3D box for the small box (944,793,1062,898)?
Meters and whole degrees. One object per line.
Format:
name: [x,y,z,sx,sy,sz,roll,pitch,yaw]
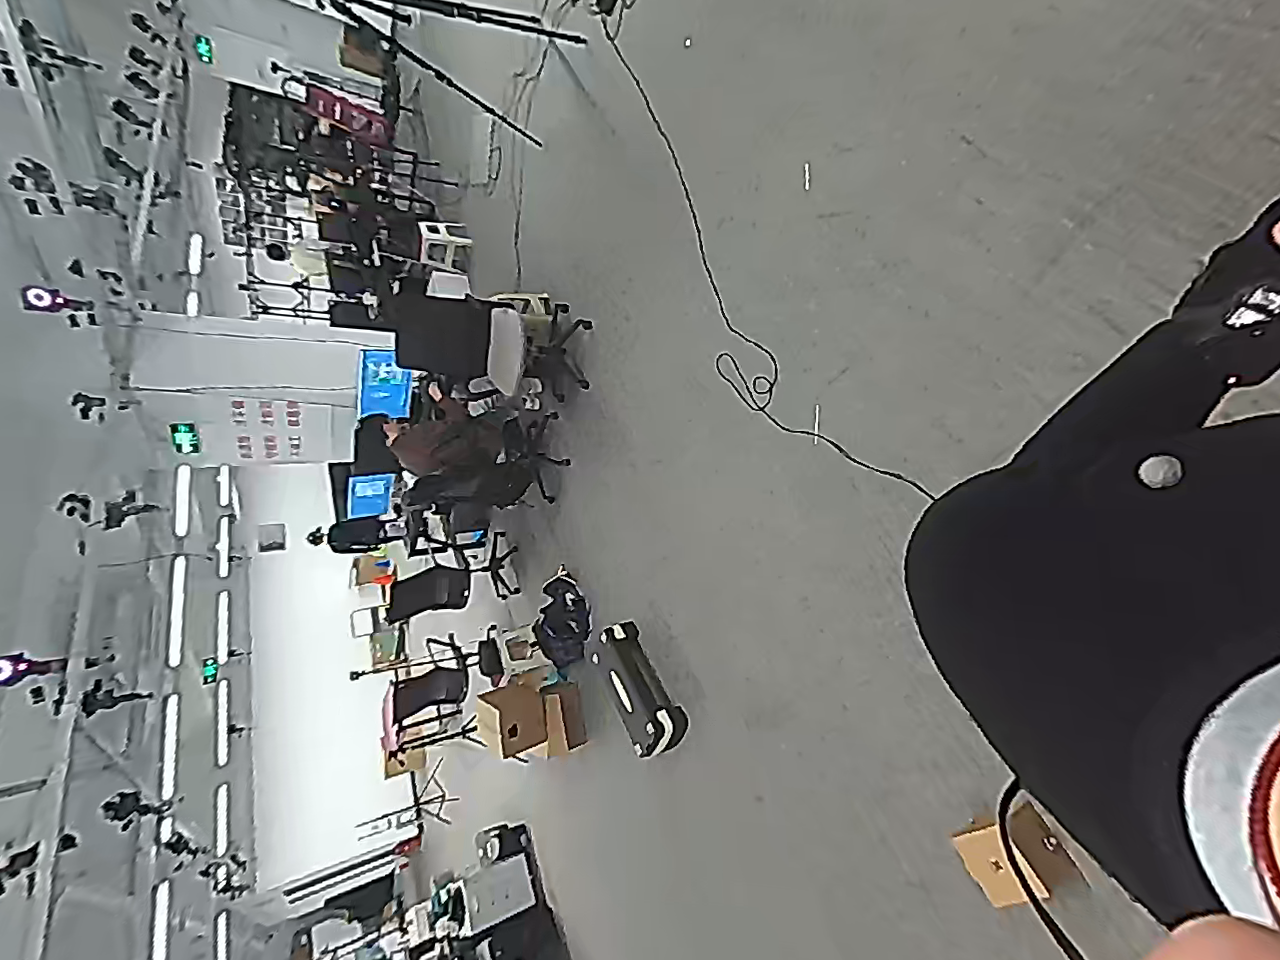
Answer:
small box: [0.977,0.979,1.453,0.168,0.176,0.179,59,138,31]
